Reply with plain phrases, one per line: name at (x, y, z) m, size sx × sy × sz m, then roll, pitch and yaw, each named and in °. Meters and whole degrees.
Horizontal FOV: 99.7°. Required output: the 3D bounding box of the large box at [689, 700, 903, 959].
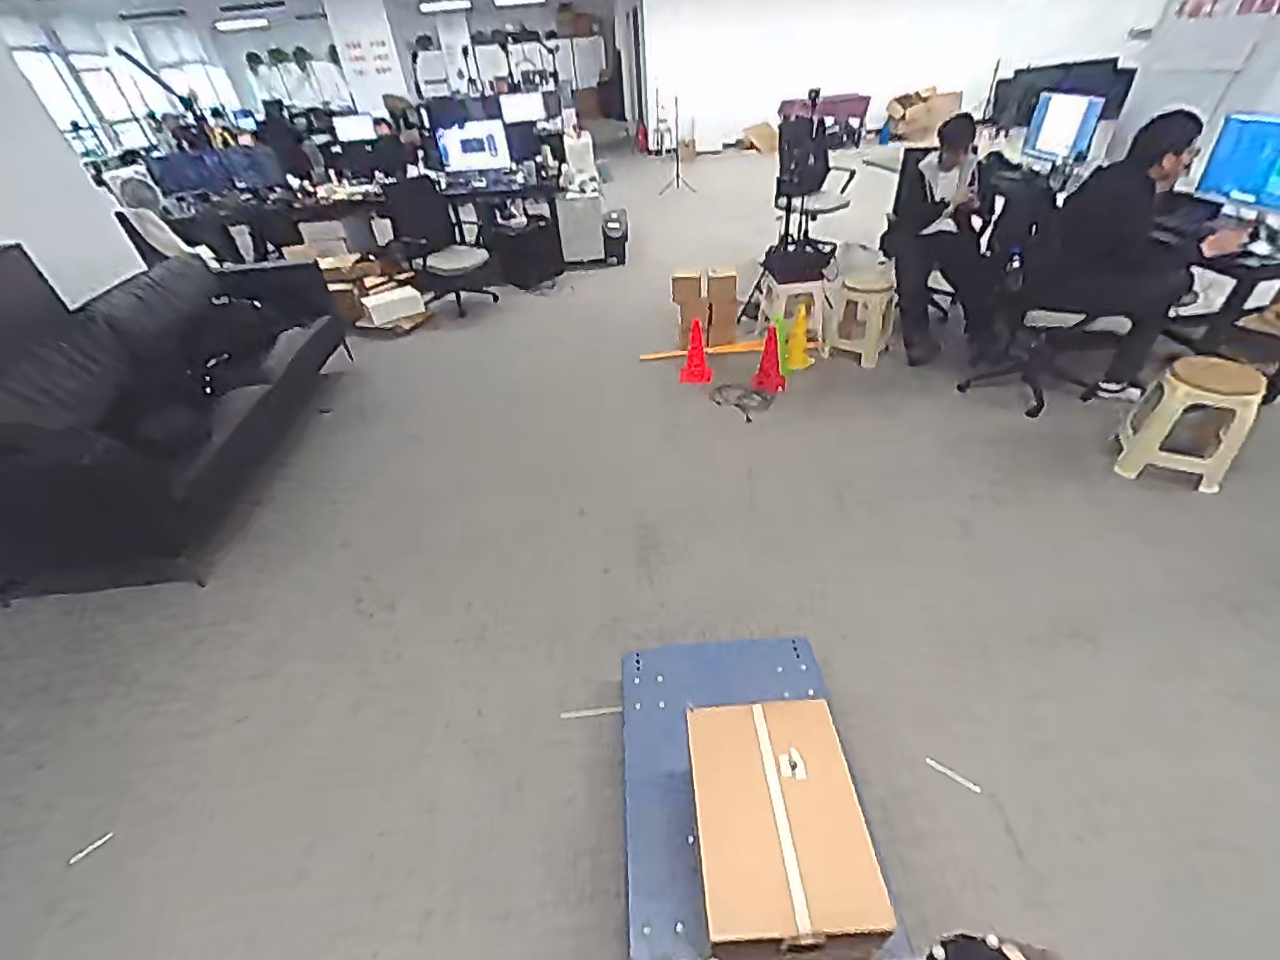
large box at (0.281, 0.736, 1.123) m, size 0.320 × 0.320 × 0.408 m, roll -4°, pitch 38°, yaw 1°
